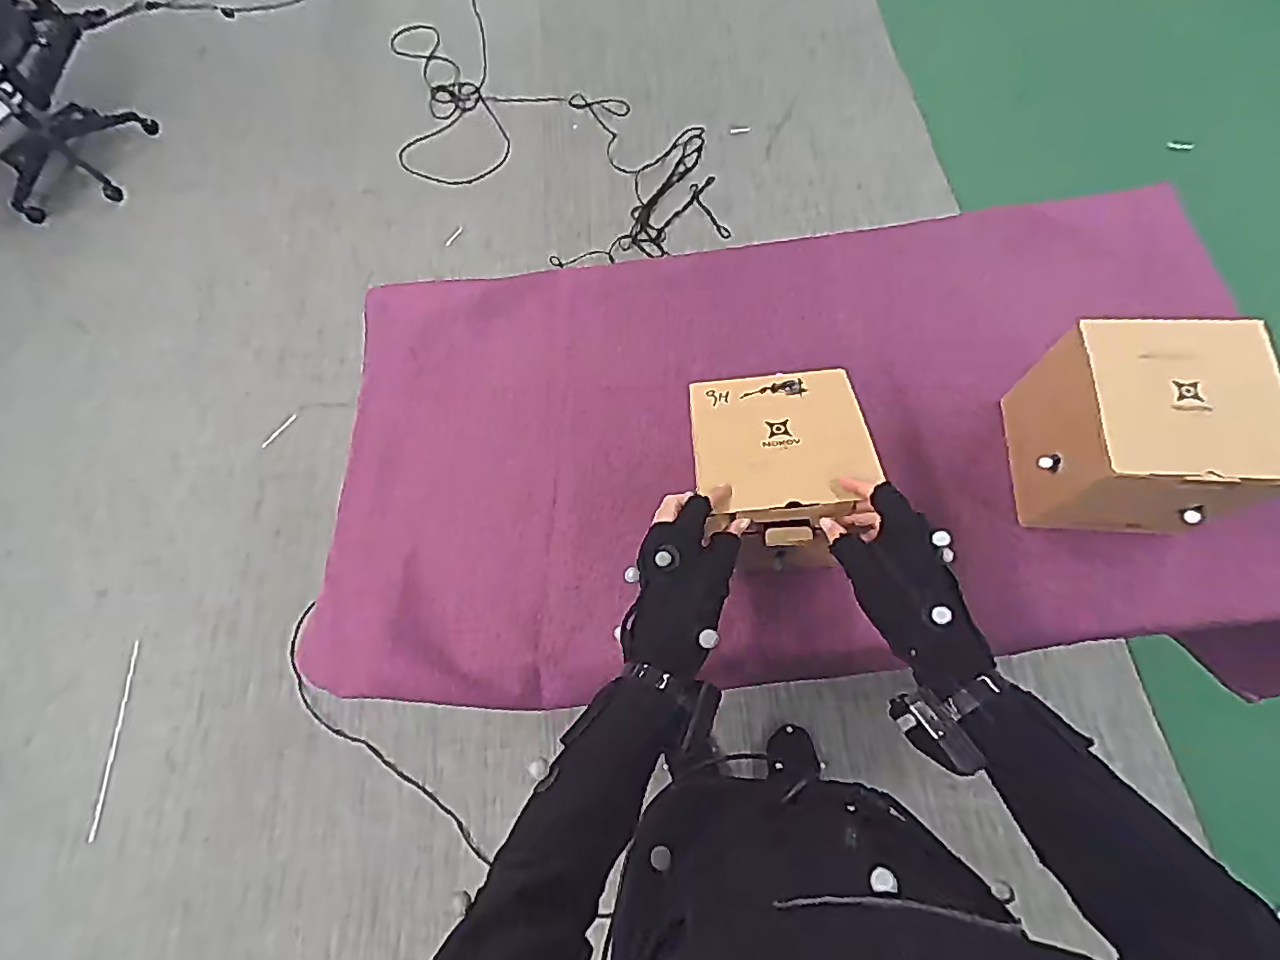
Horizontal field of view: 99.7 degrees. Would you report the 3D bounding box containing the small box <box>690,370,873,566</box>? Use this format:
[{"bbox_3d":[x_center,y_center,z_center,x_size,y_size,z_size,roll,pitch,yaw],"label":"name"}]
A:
[{"bbox_3d":[0.148,-0.001,0.620,0.168,0.176,0.179,-5,69,6],"label":"small box"}]

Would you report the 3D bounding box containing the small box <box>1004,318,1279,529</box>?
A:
[{"bbox_3d":[0.531,-0.052,0.587,0.168,0.176,0.179,3,69,9],"label":"small box"}]
